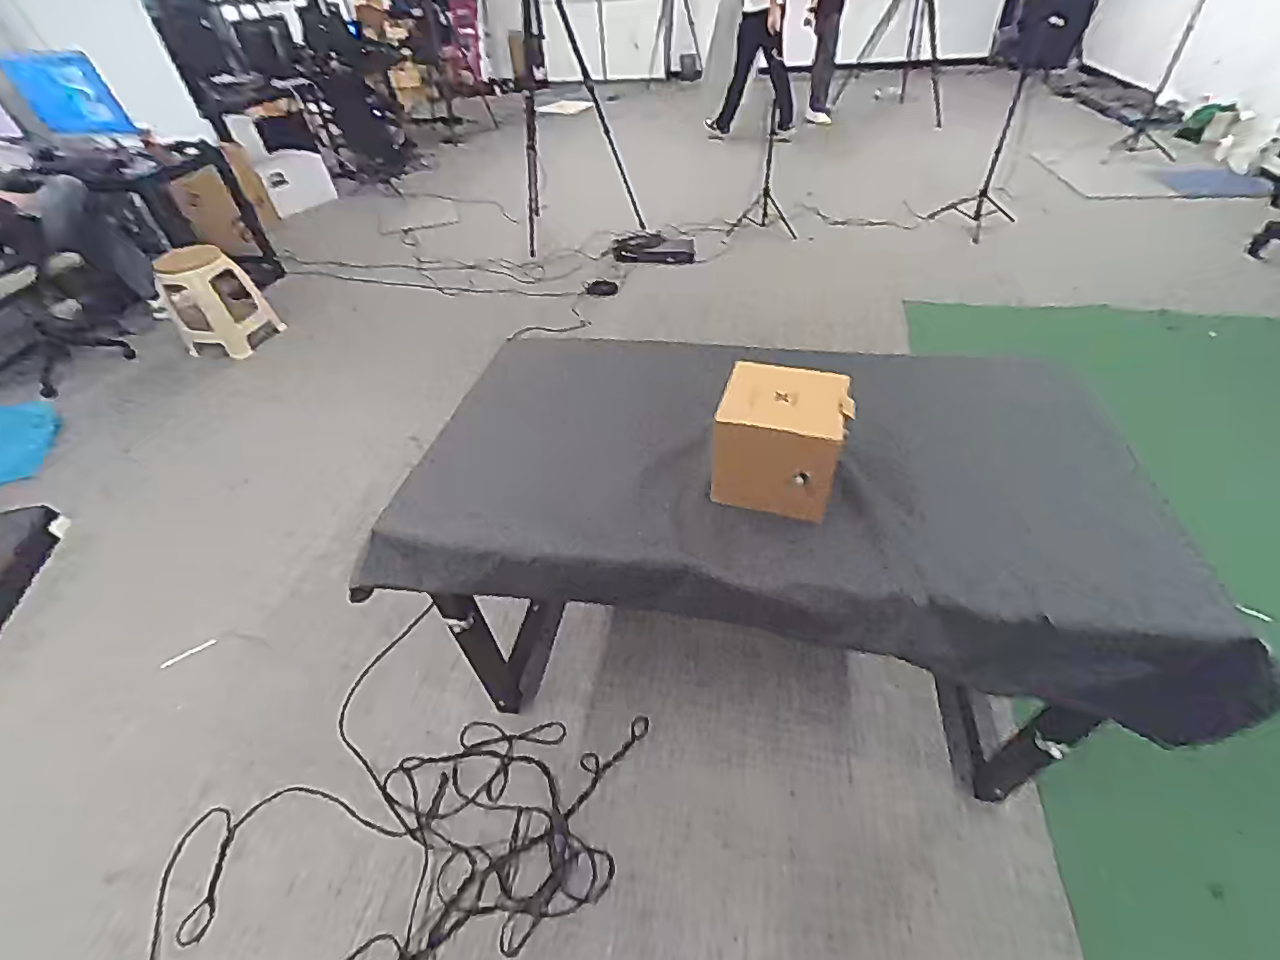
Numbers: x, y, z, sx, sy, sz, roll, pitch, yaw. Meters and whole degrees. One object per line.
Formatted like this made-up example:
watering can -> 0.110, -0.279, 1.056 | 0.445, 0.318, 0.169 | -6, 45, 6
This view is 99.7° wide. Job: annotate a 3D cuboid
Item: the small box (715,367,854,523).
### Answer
small box -> 0.222, -0.054, 0.845 | 0.179, 0.176, 0.168 | 10, 44, 16
